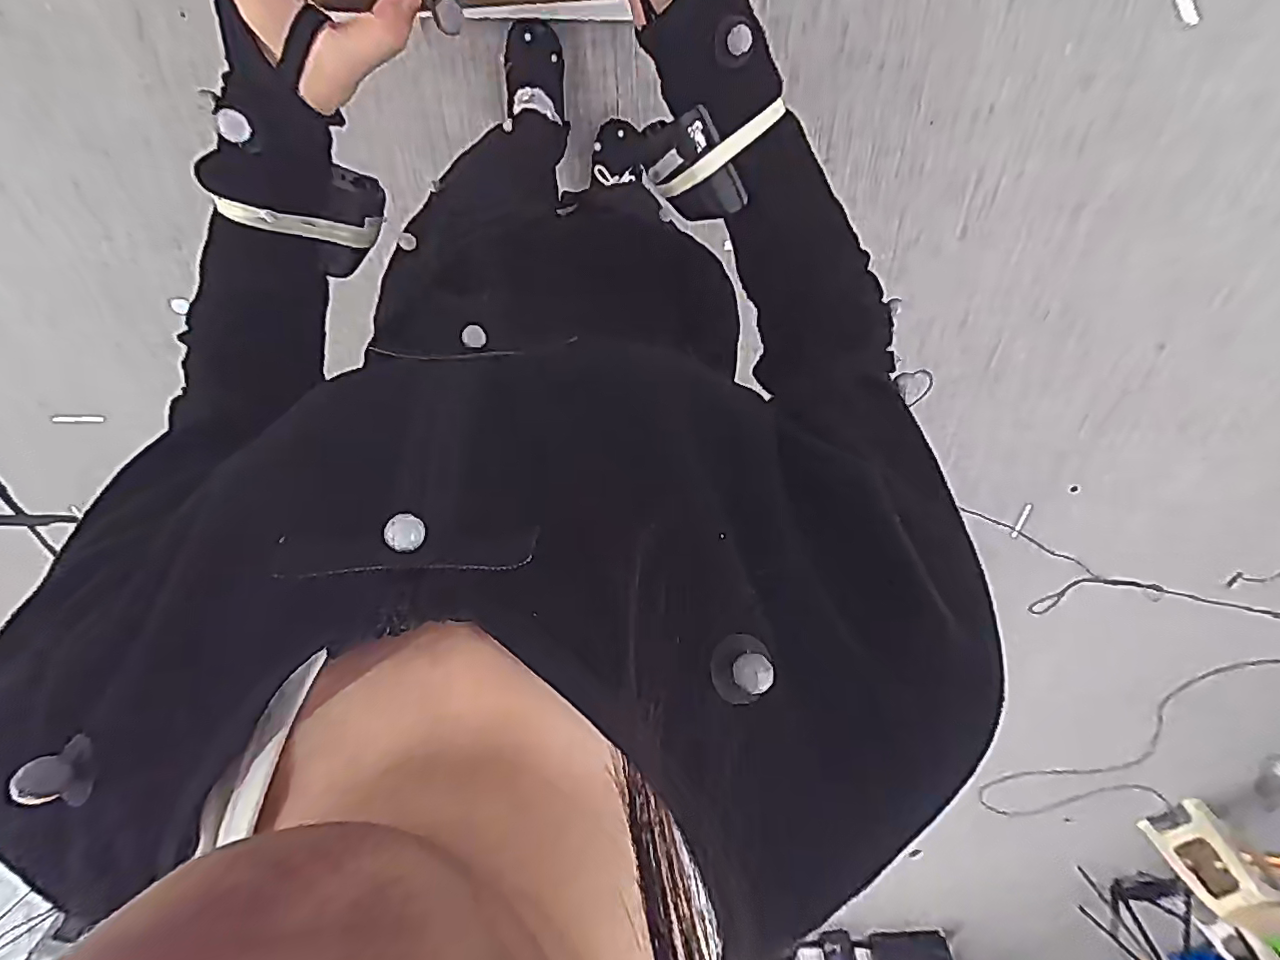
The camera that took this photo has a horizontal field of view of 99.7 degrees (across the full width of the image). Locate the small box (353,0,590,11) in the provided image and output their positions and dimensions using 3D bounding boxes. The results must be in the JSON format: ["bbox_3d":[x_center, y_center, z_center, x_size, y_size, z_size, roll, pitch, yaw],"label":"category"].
[{"bbox_3d":[-0.091,-0.314,0.201,0.168,0.176,0.179,-5,118,-2],"label":"small box"}]
